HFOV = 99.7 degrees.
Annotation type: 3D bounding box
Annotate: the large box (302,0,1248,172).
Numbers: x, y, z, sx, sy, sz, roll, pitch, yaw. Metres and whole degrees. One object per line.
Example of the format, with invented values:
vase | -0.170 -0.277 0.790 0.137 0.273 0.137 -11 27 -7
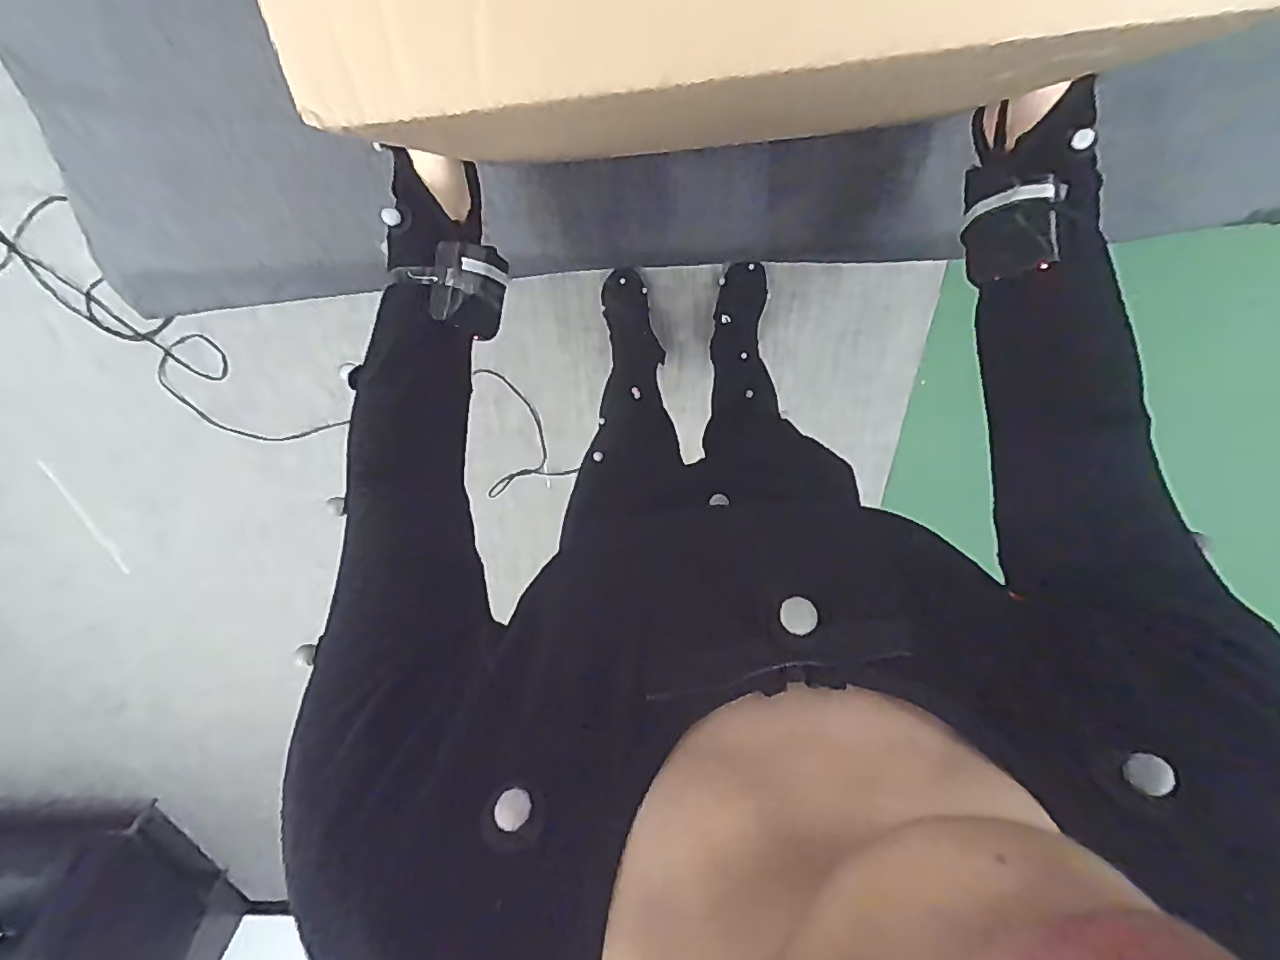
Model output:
large box | 0.046 -0.378 0.297 0.408 0.320 0.320 -5 118 4
